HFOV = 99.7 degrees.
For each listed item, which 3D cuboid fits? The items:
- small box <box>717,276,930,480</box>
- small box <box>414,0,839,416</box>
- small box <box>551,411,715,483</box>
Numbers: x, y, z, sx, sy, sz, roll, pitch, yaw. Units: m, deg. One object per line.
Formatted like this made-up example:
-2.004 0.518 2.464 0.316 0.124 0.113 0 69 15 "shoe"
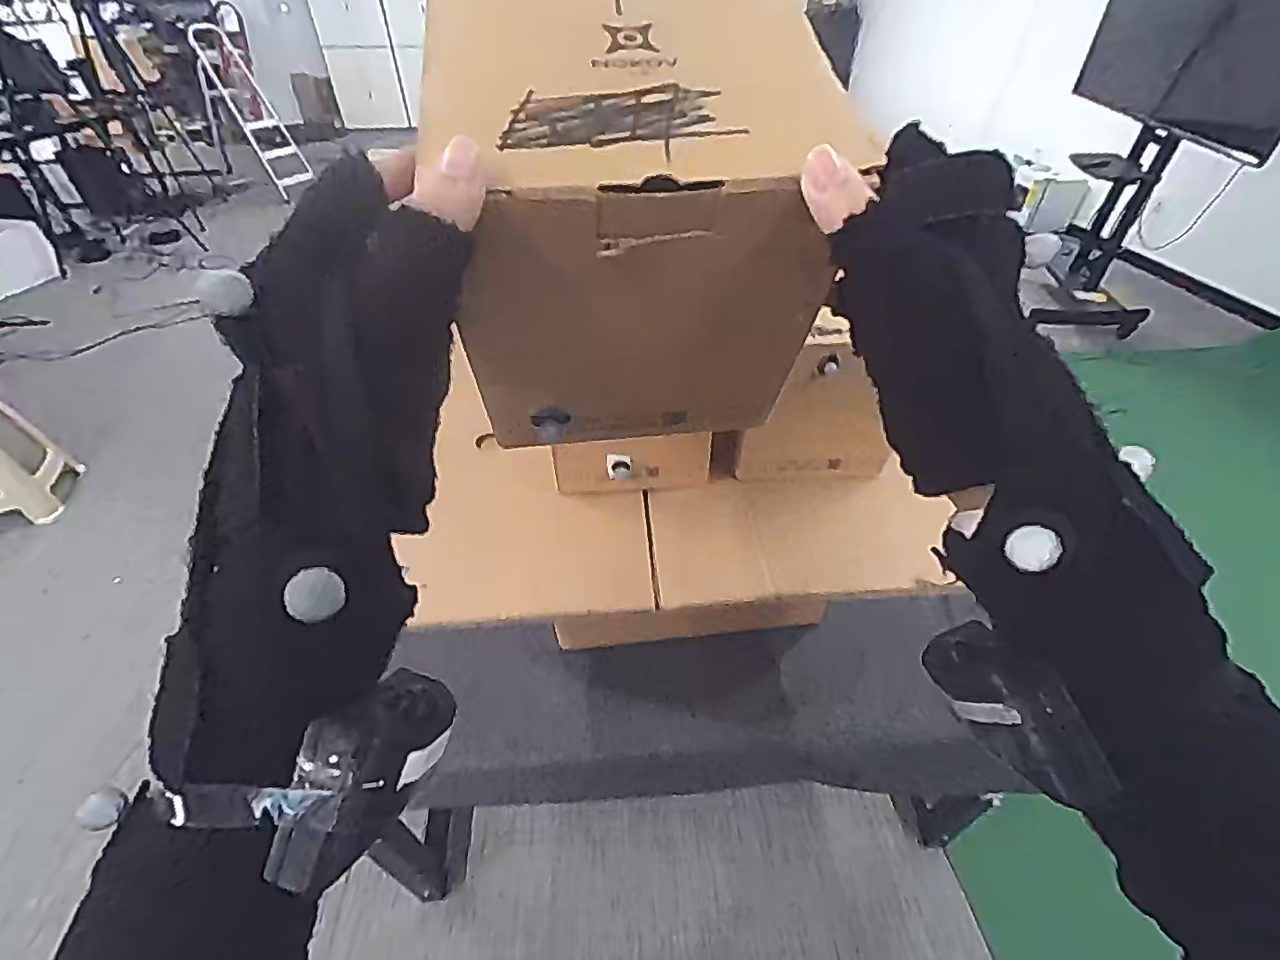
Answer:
0.183 -0.119 0.613 0.168 0.176 0.179 -1 41 -3 "small box"
-0.014 -0.149 0.311 0.168 0.176 0.179 -5 62 -6 "small box"
-0.012 -0.117 0.593 0.168 0.176 0.179 -4 44 -2 "small box"
